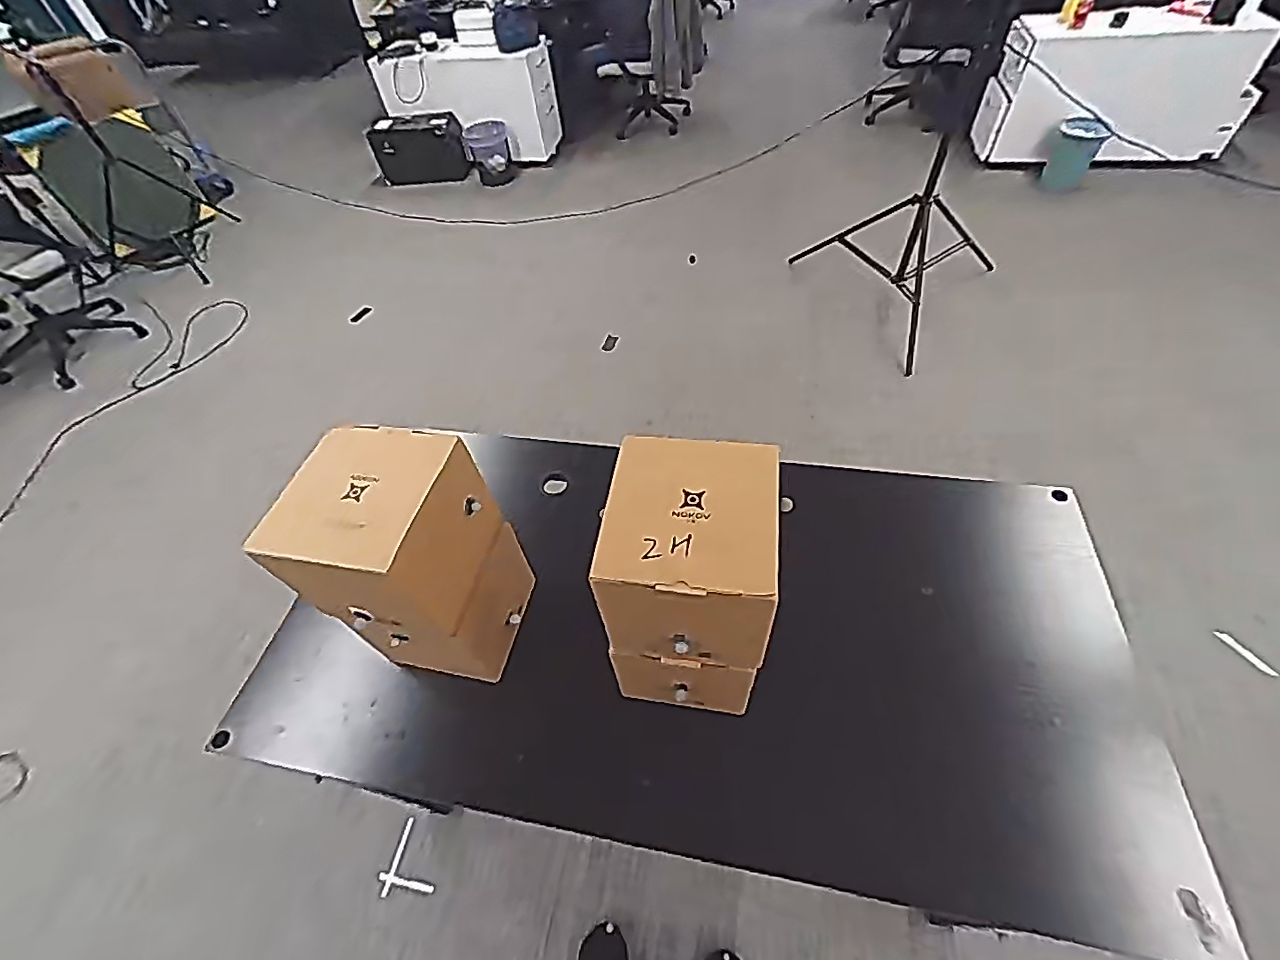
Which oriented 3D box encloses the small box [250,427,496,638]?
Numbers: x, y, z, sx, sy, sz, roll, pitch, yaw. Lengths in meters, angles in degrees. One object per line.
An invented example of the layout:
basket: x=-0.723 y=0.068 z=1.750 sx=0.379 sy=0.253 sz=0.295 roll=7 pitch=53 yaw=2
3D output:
small box: x=-0.287 y=0.062 z=0.633 sx=0.168 sy=0.176 sz=0.179 roll=5 pitch=53 yaw=11

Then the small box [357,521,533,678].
small box: x=-0.271 y=0.162 z=0.761 sx=0.179 sy=0.176 sz=0.168 roll=7 pitch=53 yaw=10

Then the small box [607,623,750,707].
small box: x=0.063 y=0.183 z=0.713 sx=0.168 sy=0.176 sz=0.179 roll=5 pitch=52 yaw=9

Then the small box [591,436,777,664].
small box: x=0.054 y=0.076 z=0.586 sx=0.168 sy=0.176 sz=0.179 roll=4 pitch=52 yaw=10
